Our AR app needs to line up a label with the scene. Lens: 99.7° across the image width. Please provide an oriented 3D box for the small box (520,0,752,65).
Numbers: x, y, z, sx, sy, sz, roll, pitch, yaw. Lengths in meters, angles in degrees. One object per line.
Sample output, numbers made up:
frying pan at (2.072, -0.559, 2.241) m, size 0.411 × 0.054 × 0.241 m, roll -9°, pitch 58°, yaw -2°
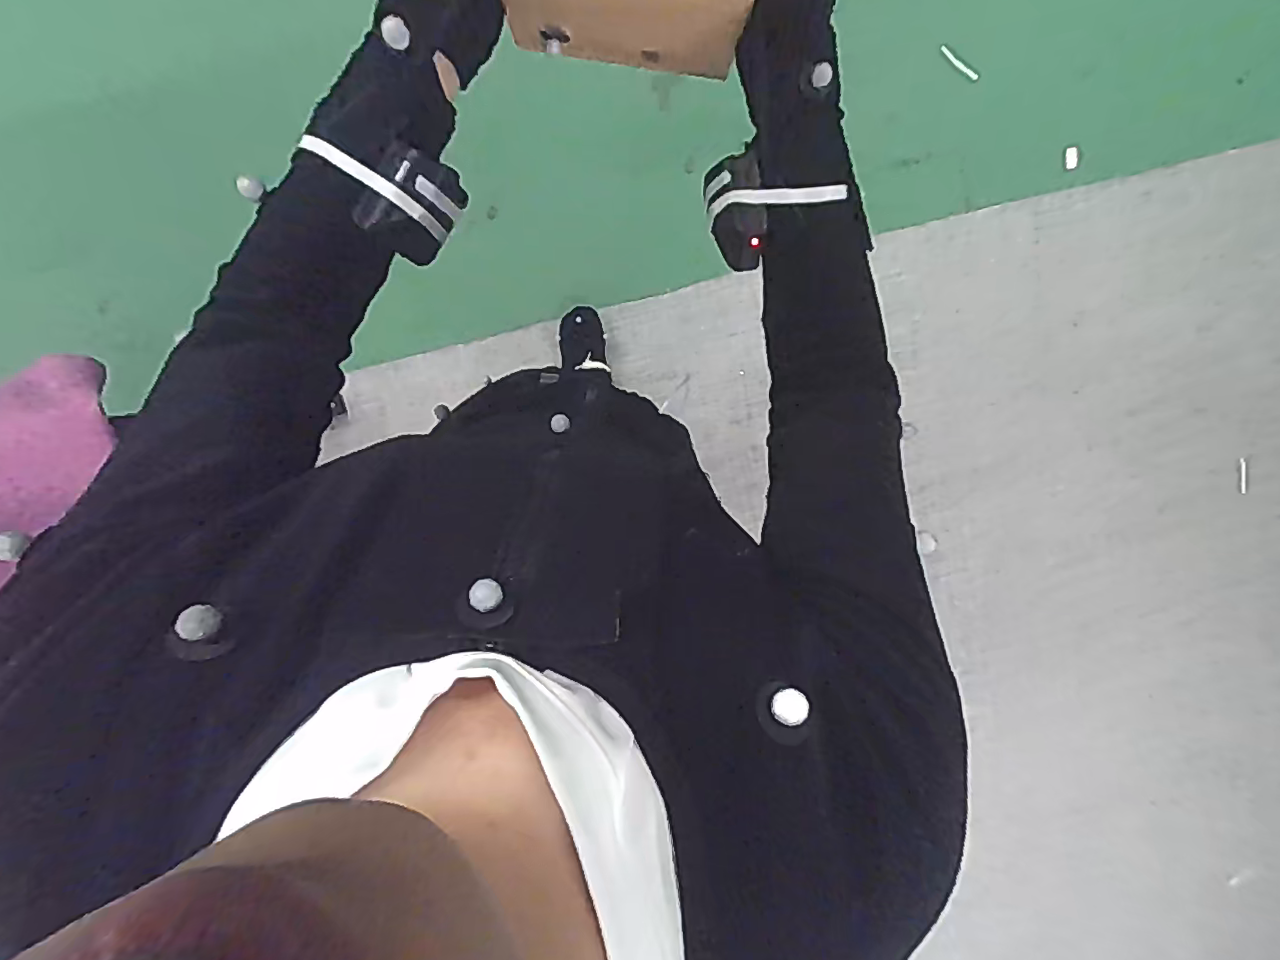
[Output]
small box at (0.003, -0.394, 0.325) m, size 0.168 × 0.176 × 0.179 m, roll 6°, pitch 103°, yaw -4°
